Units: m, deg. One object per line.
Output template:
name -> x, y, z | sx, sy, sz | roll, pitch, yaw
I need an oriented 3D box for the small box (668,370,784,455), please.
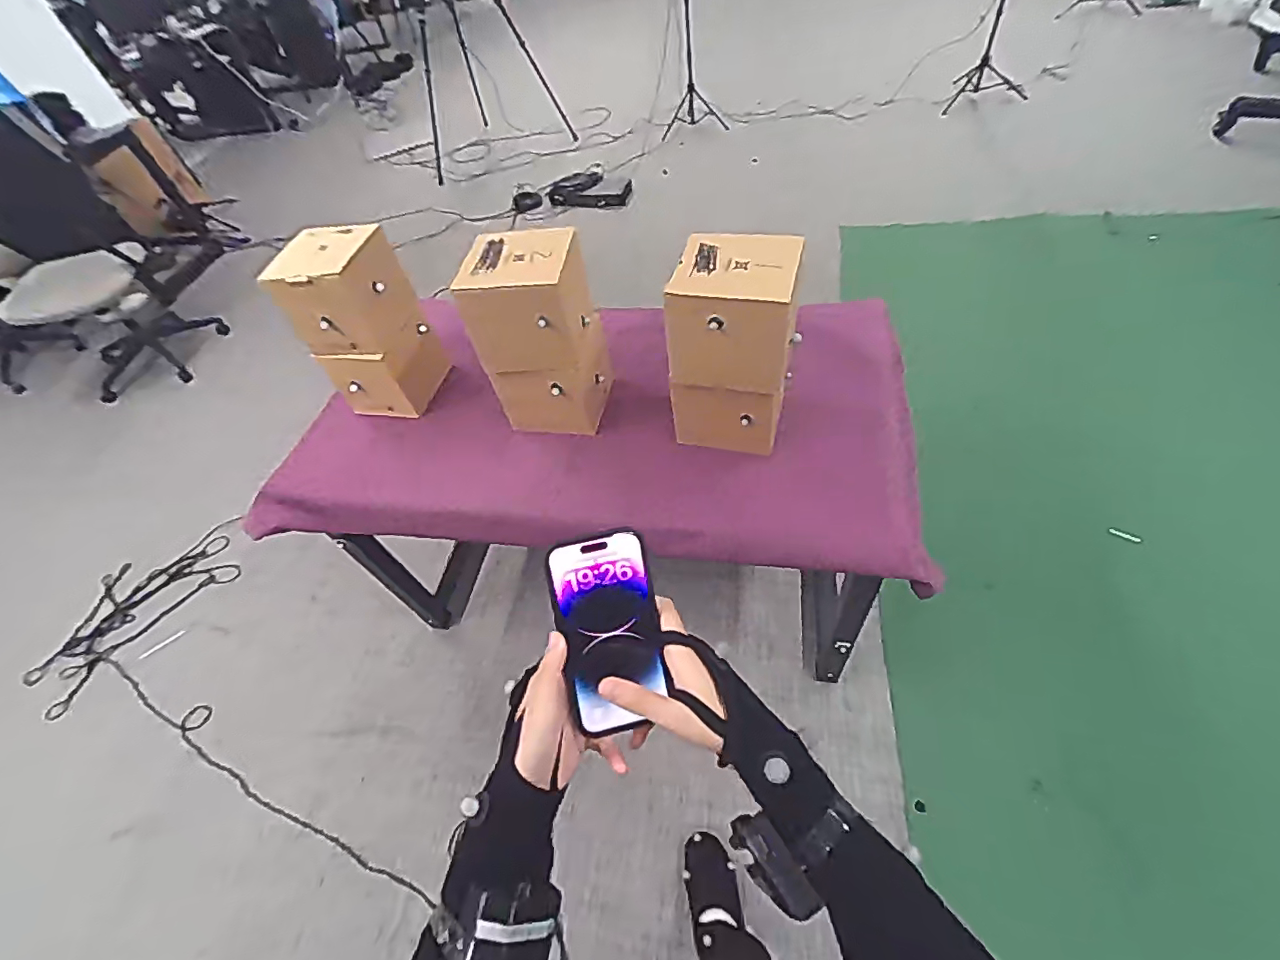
small box -> 0.162, -0.164, 0.974 | 0.179, 0.176, 0.168 | 10, 54, 18

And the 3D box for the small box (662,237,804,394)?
small box -> 0.145, -0.252, 0.835 | 0.179, 0.176, 0.168 | 10, 54, 16

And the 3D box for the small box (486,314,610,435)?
small box -> -0.166, -0.203, 1.058 | 0.179, 0.176, 0.168 | 5, 53, 13

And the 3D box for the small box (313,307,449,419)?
small box -> -0.541, -0.250, 1.160 | 0.168, 0.176, 0.179 | 5, 53, 14

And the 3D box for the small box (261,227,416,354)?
small box -> -0.561, -0.357, 1.037 | 0.168, 0.176, 0.179 | 1, 53, 10
